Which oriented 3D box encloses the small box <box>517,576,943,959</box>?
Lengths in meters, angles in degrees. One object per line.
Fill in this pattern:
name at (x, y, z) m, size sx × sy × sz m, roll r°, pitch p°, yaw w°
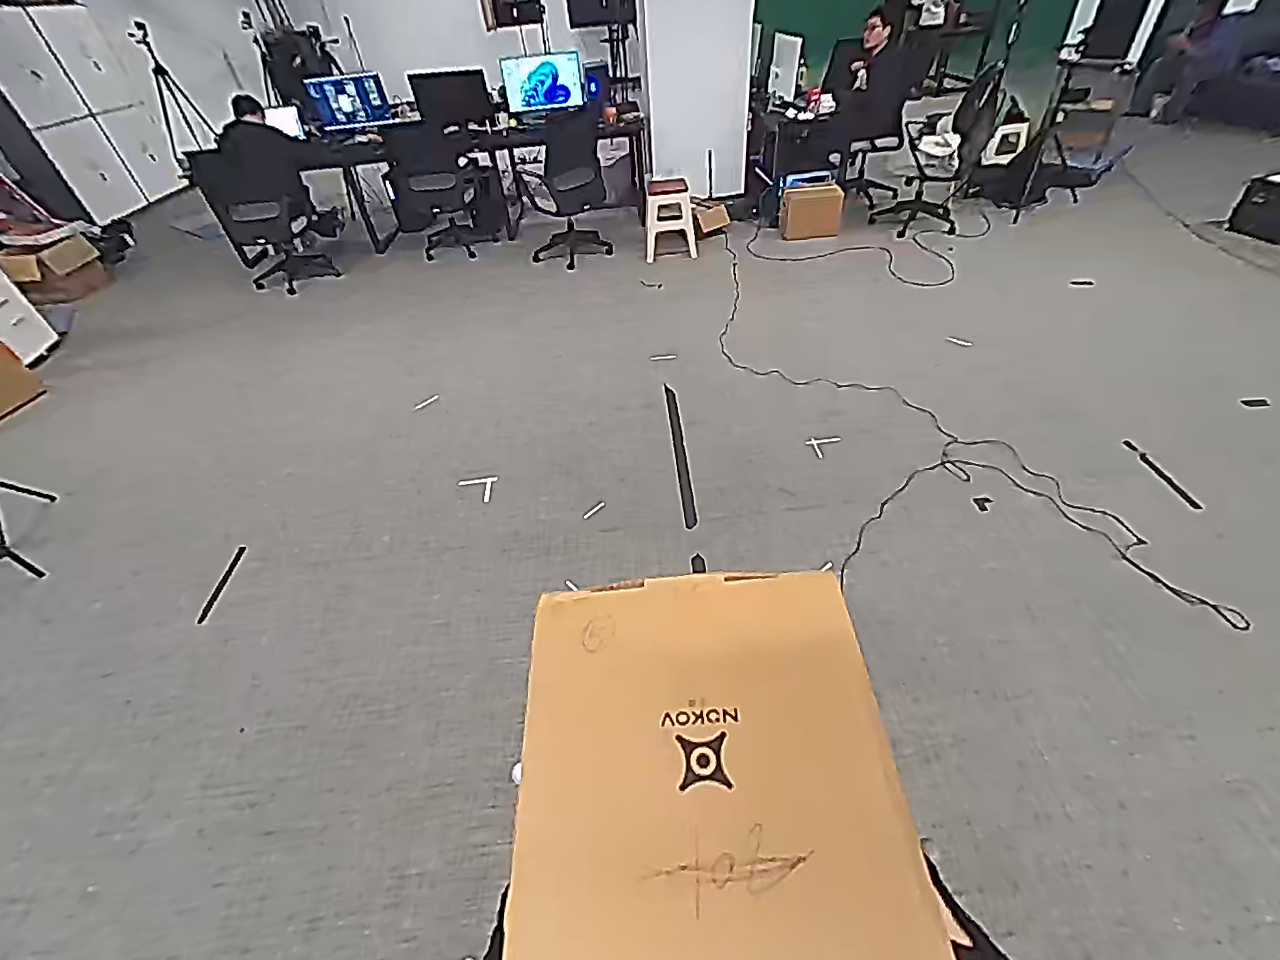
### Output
small box at (0.036, 0.177, 0.317) m, size 0.168 × 0.176 × 0.179 m, roll -5°, pitch 51°, yaw 2°
